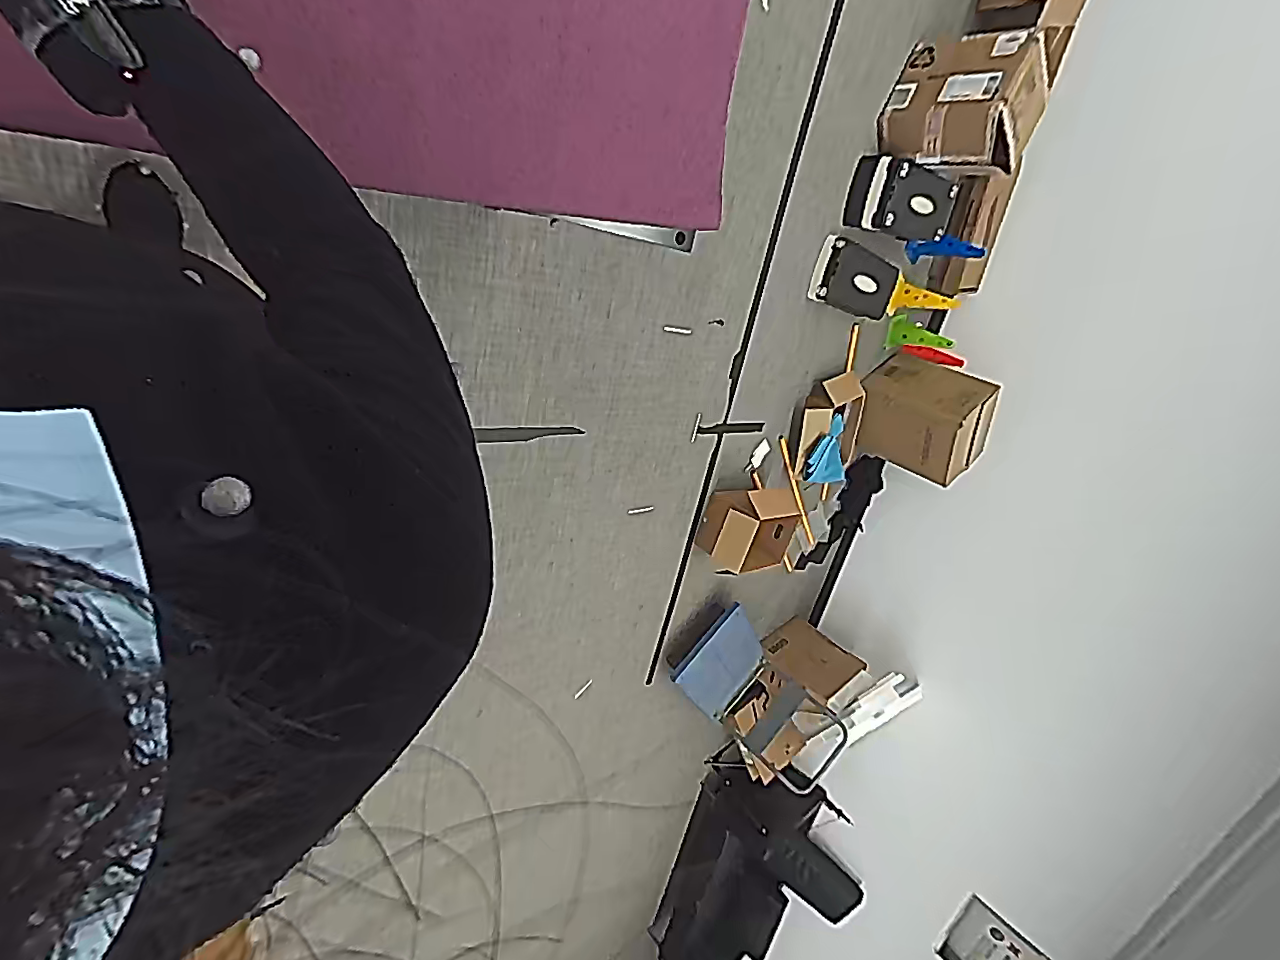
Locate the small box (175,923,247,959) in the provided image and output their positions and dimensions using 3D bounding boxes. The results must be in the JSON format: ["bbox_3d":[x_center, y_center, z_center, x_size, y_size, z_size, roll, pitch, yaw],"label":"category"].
[{"bbox_3d":[-1.292,1.506,1.626,0.179,0.176,0.168,-15,124,-41],"label":"small box"}]
